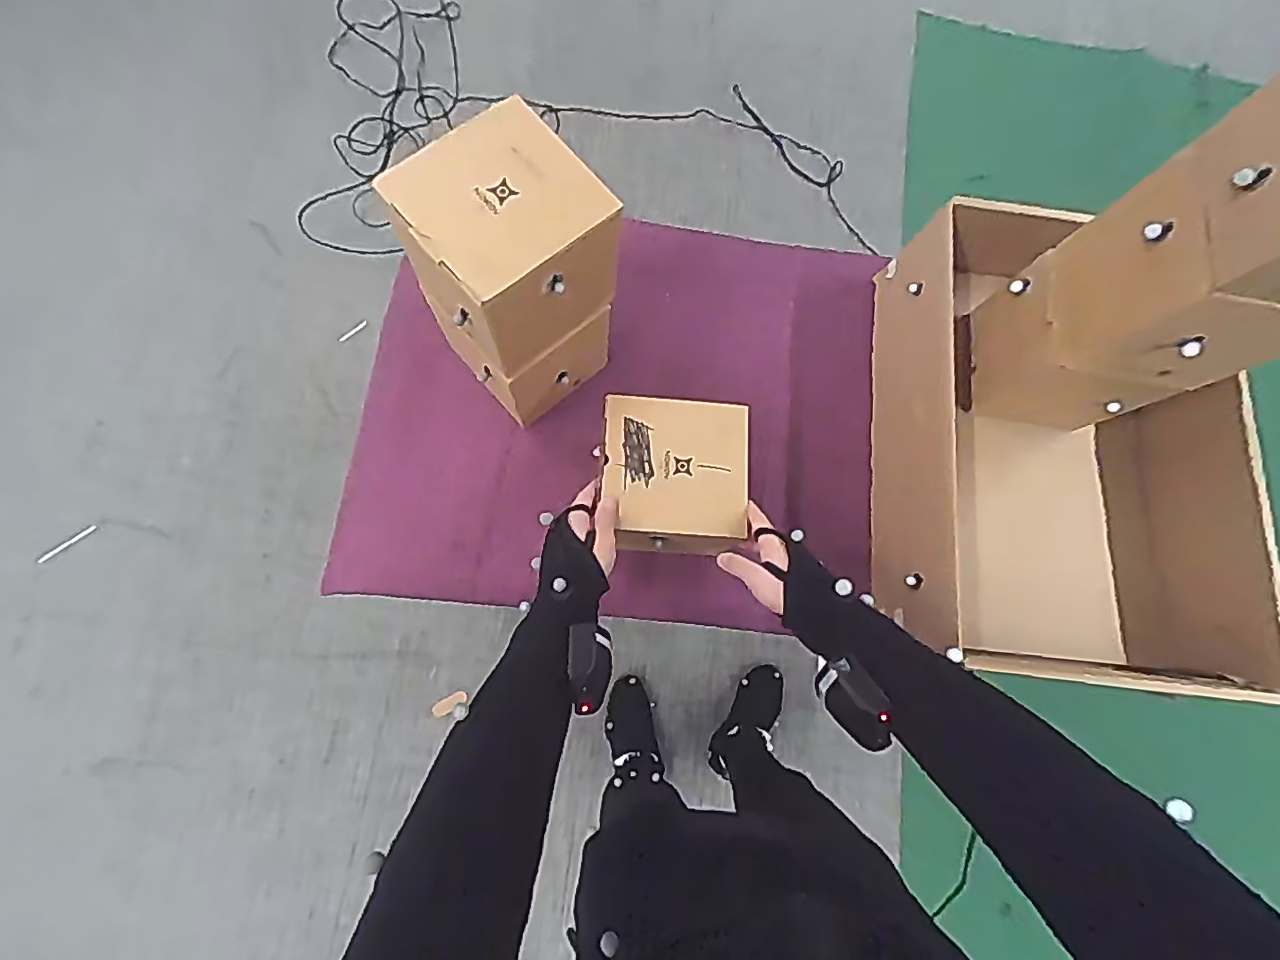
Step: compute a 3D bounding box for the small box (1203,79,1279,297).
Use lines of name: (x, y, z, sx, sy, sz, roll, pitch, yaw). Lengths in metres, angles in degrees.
small box: (0.618, -0.255, 0.434, 0.168, 0.176, 0.179, 9, 78, -2)

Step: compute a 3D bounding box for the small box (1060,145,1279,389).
small box: (0.604, -0.217, 0.593, 0.168, 0.176, 0.179, 9, 77, -2)

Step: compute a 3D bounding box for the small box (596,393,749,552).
small box: (0.035, 0.000, 0.710, 0.179, 0.176, 0.168, 5, 75, -4)

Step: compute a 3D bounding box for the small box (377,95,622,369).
small box: (-0.137, -0.252, 0.589, 0.179, 0.176, 0.168, -40, 84, -13)

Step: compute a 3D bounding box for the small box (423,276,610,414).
small box: (-0.158, -0.211, 0.745, 0.168, 0.176, 0.179, -40, 83, -13)
